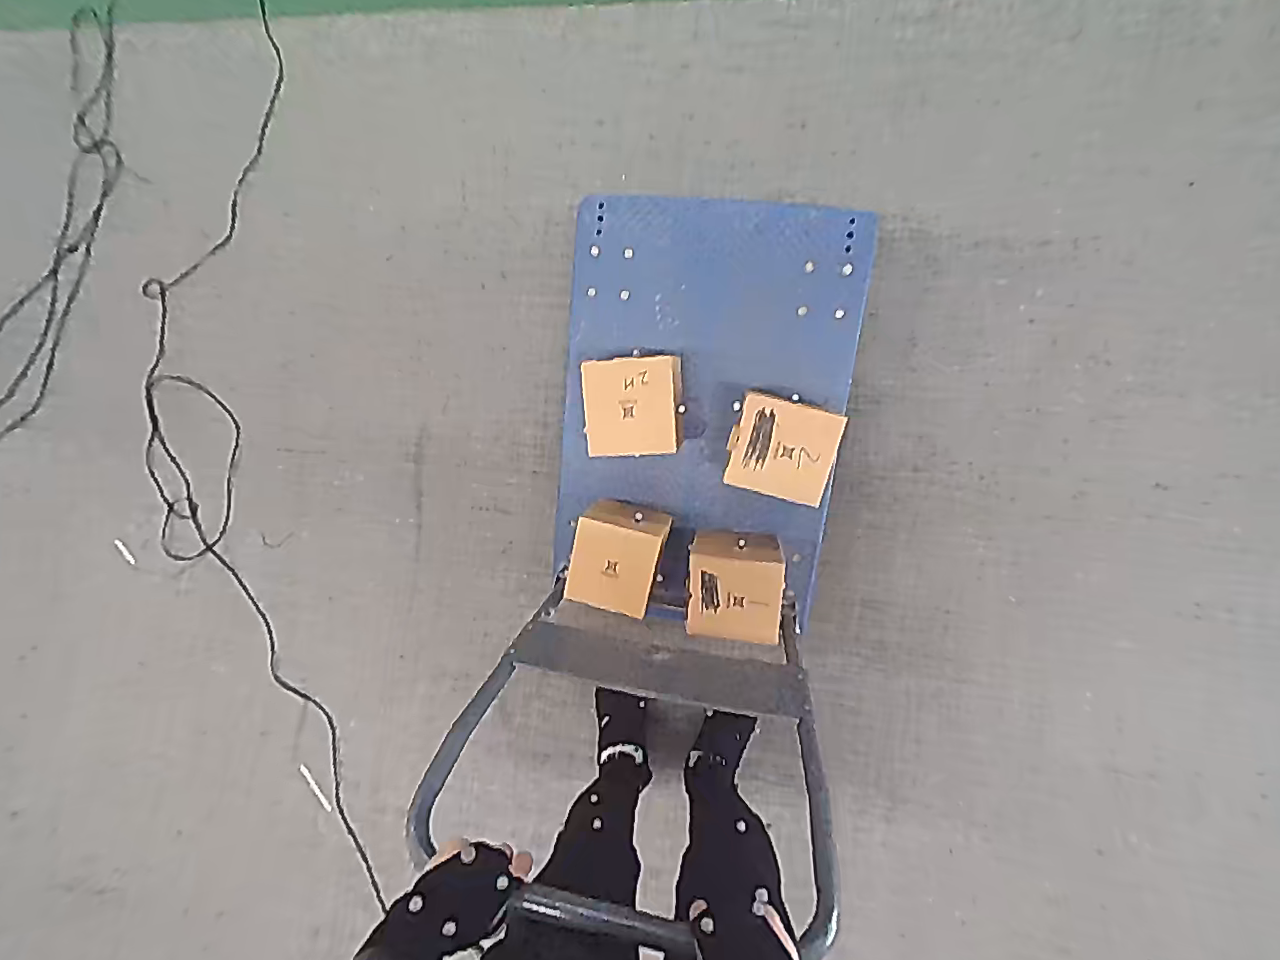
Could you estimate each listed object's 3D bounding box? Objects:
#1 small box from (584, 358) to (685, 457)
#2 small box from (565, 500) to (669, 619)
[{"bbox_3d":[-0.003,-0.145,1.047,0.168,0.176,0.179,-1,101,10],"label":"small box"},{"bbox_3d":[-0.040,0.153,1.115,0.168,0.176,0.179,14,105,7],"label":"small box"}]
